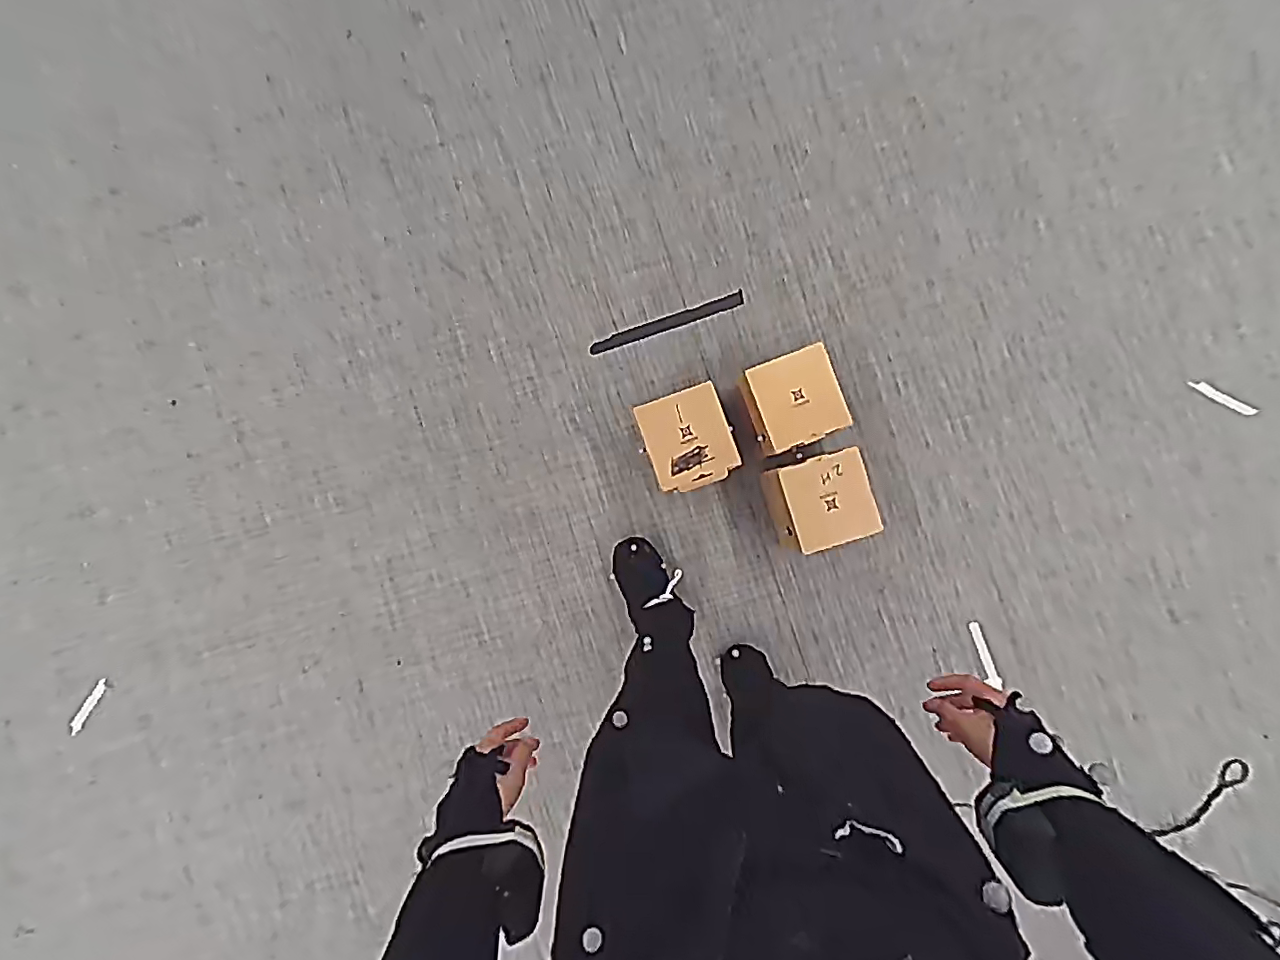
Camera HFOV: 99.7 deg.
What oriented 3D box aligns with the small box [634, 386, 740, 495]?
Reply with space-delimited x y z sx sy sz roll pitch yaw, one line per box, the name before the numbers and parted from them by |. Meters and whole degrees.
small box | 0.093 -0.076 1.123 0.168 0.176 0.179 -20 88 0
